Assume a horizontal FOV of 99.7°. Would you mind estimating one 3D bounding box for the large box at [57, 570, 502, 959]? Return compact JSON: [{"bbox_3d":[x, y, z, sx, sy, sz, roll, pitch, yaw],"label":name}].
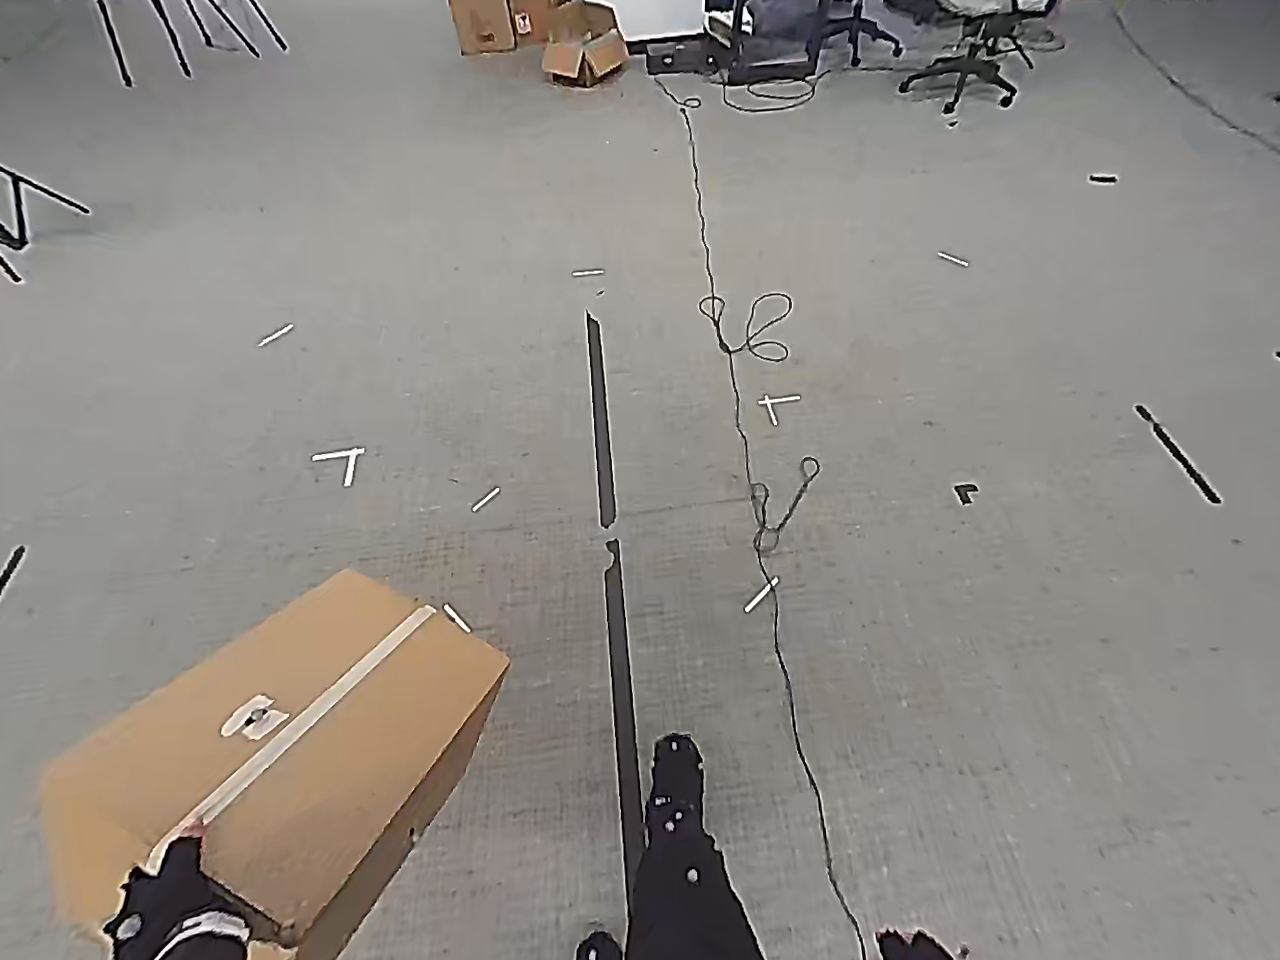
[{"bbox_3d":[-0.464,0.411,0.777,0.320,0.320,0.408,28,28,5],"label":"large box"}]
